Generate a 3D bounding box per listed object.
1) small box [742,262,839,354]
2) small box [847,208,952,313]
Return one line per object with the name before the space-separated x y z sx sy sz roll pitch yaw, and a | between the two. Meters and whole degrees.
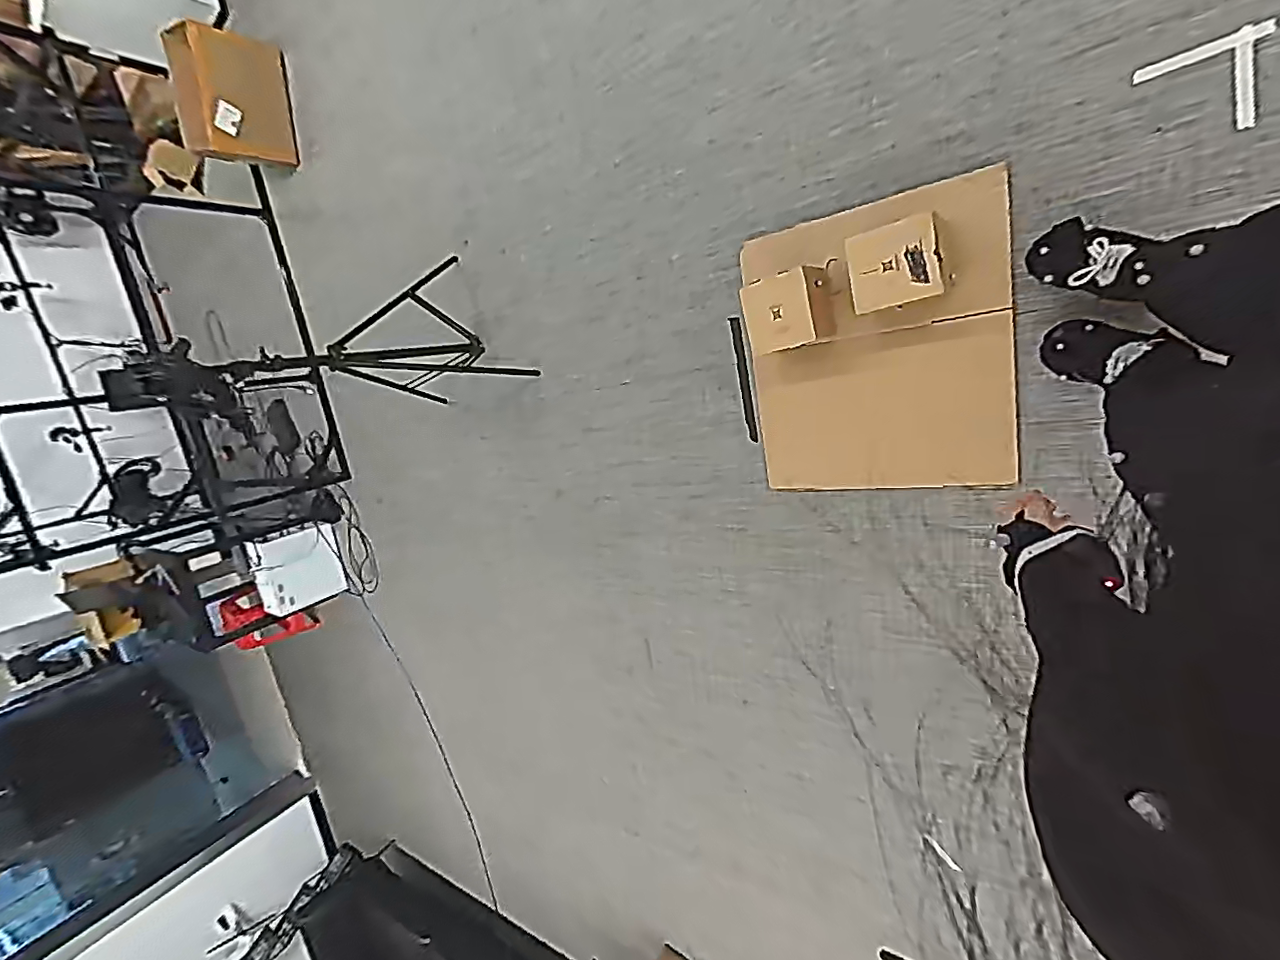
small box | 0.377 -0.426 1.346 0.168 0.176 0.179 -9 101 39
small box | 0.574 -0.474 1.183 0.179 0.176 0.168 -6 102 37
